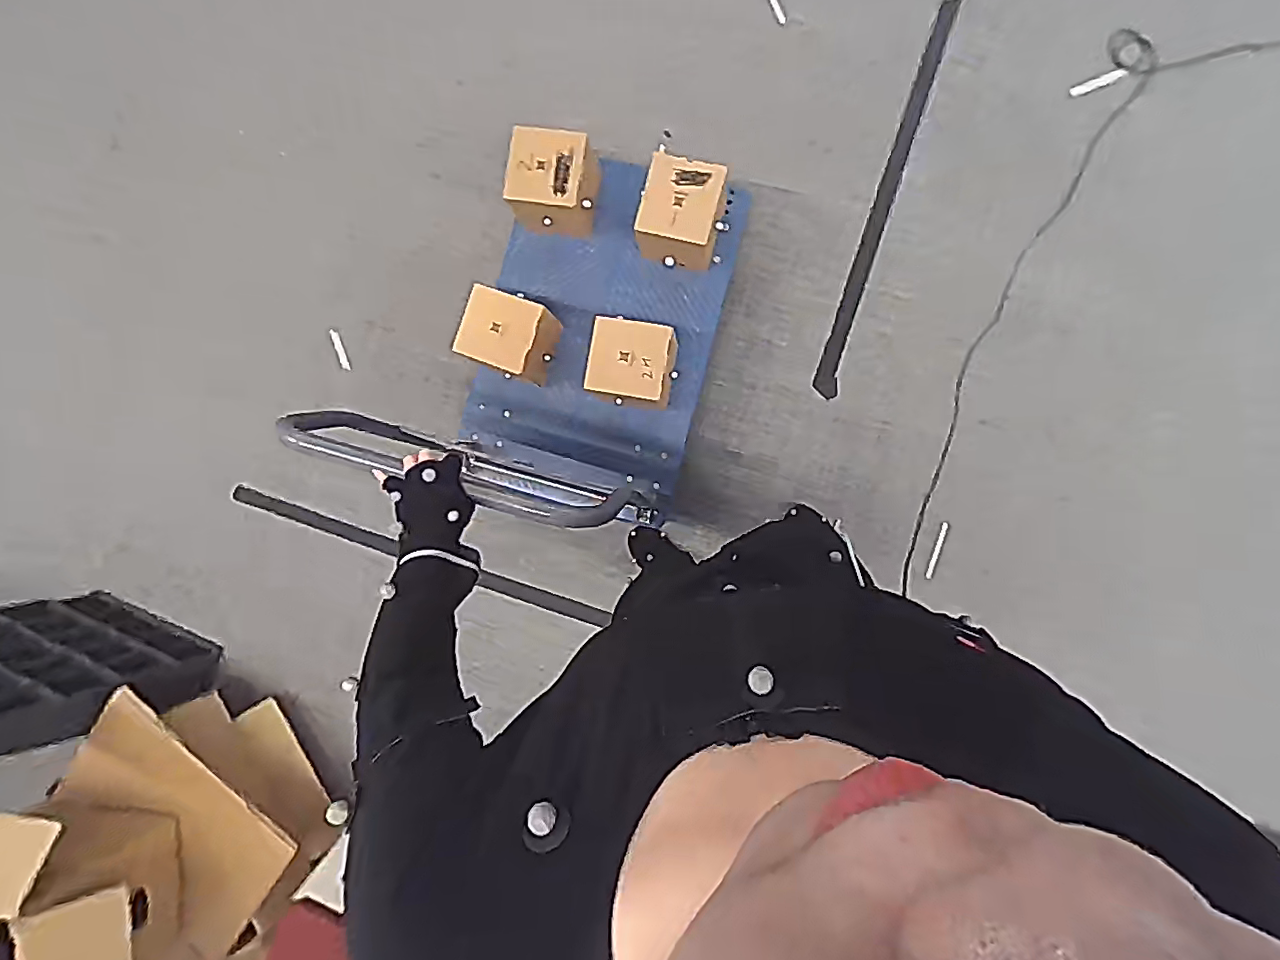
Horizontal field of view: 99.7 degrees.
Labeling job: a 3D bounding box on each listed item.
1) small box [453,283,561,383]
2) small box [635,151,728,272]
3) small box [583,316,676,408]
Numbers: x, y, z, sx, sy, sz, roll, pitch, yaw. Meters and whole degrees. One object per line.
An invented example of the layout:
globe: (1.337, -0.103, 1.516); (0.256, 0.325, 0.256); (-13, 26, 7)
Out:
small box: (-0.313, -0.345, 1.303); (0.179, 0.176, 0.168); (19, 93, 6)
small box: (0.097, -0.610, 1.247); (0.168, 0.176, 0.179); (16, 94, 7)
small box: (-0.018, -0.269, 1.264); (0.179, 0.176, 0.168); (11, 92, 7)
